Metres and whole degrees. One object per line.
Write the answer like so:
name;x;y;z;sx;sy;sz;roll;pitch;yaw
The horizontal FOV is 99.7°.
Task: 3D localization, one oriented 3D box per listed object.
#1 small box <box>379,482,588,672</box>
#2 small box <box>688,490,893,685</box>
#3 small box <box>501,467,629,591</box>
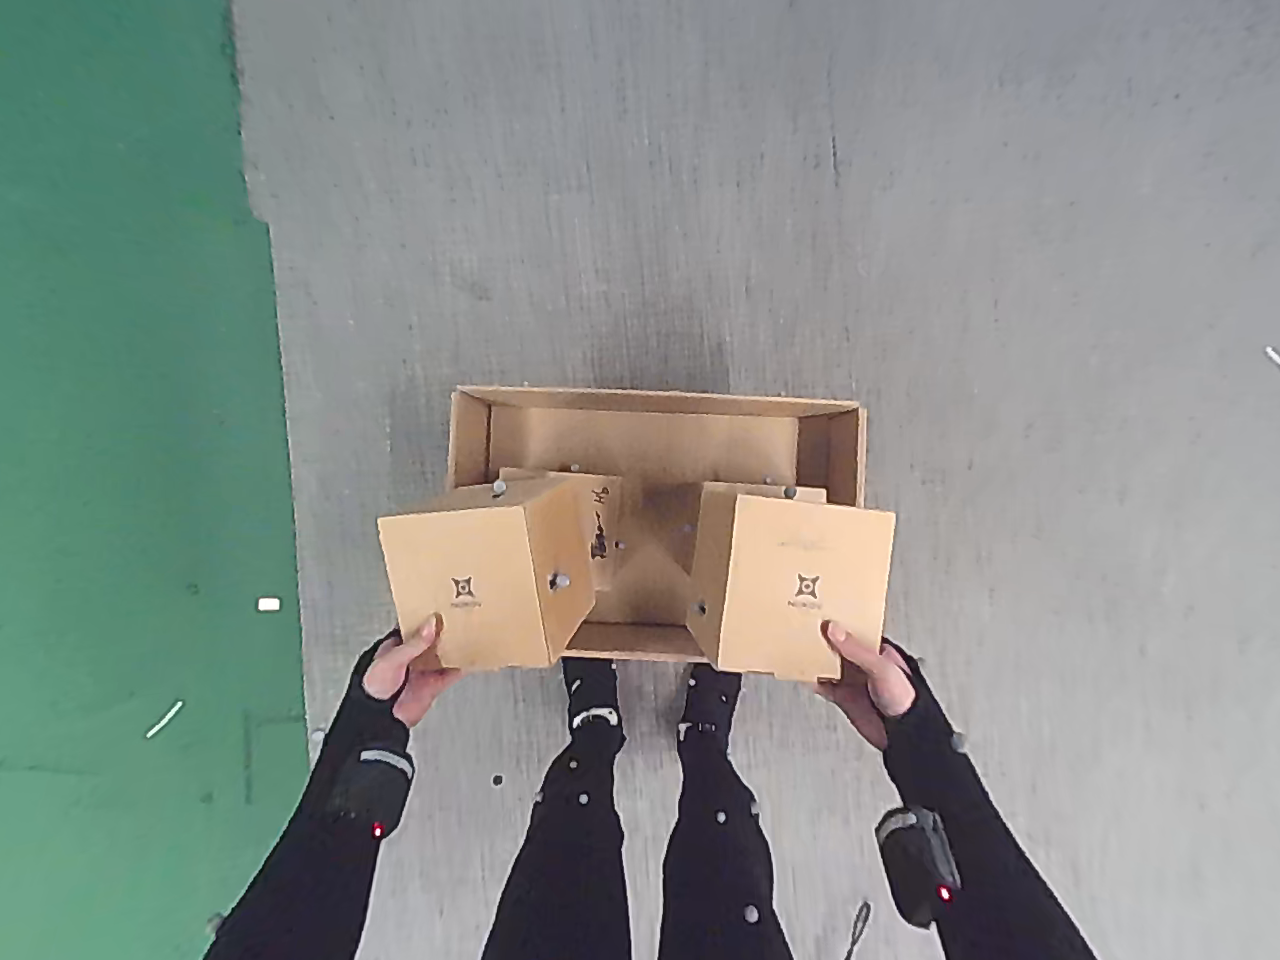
small box;-0.168;0.101;0.635;0.168;0.176;0.179;-6;99;11
small box;0.154;0.108;0.609;0.168;0.176;0.179;7;88;-5
small box;-0.116;0.073;0.855;0.179;0.176;0.168;5;89;3
